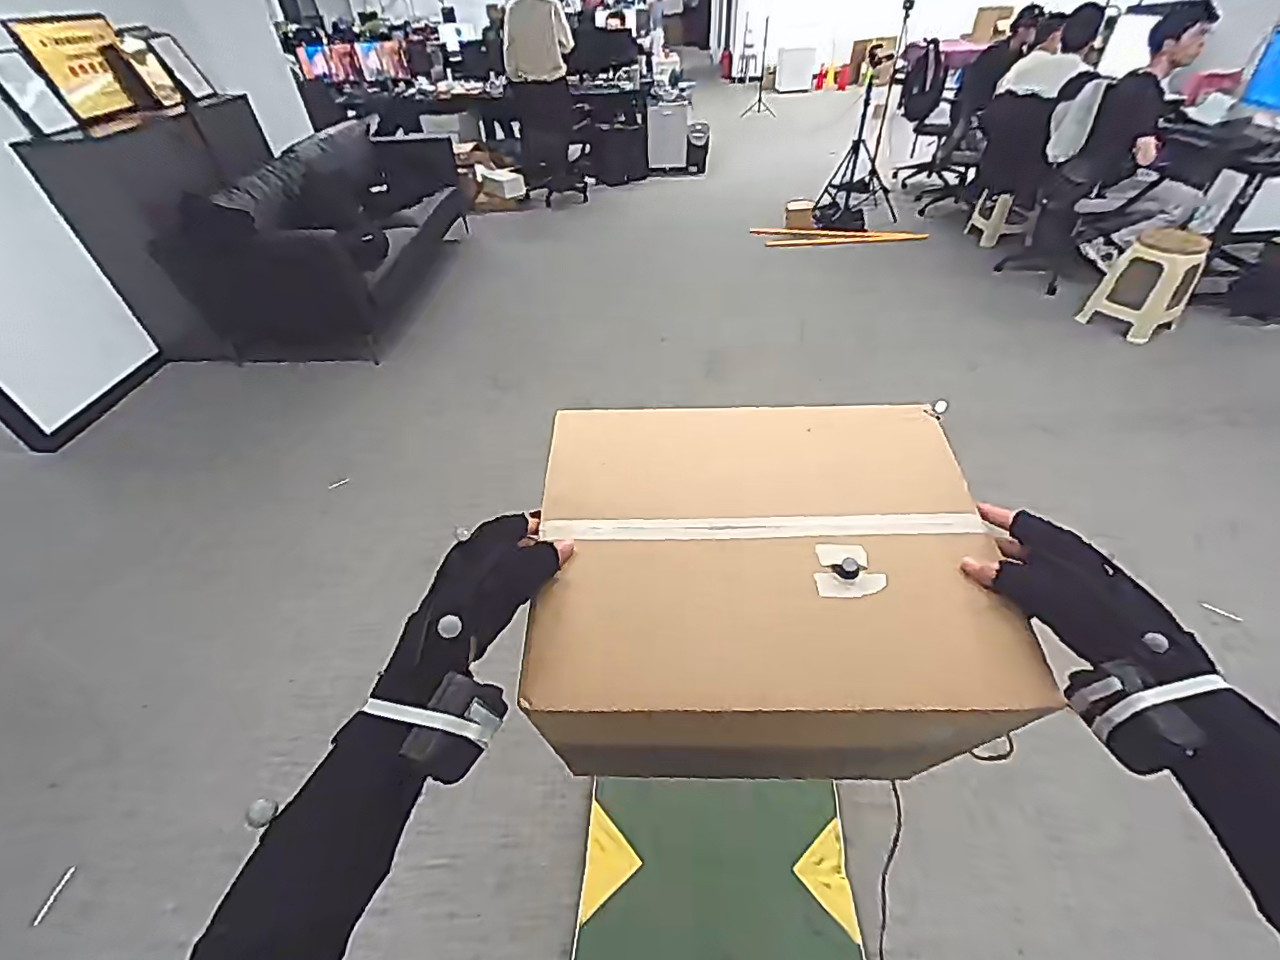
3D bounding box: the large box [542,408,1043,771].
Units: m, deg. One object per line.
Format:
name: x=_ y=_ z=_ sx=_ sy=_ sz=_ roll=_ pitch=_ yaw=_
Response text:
large box: x=0.118 y=0.136 z=0.629 sx=0.408 sy=0.320 sz=0.320 roll=-1 pitch=54 yaw=1
